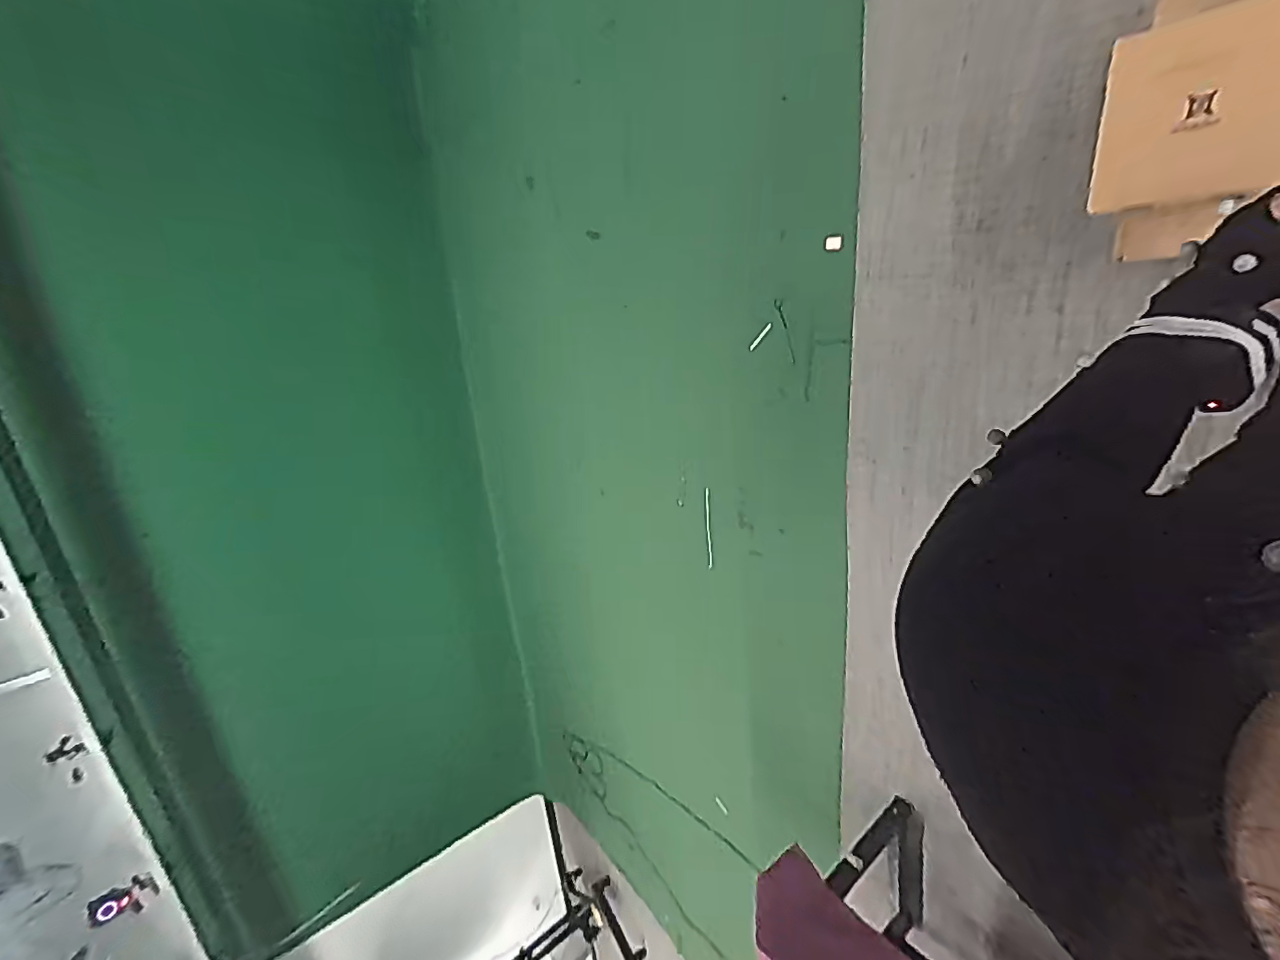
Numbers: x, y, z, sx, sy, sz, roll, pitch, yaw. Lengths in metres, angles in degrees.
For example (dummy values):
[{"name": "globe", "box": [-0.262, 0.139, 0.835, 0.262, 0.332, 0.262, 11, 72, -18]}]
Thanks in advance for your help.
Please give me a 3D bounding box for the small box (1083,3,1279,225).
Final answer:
[{"name": "small box", "box": [0.639, -0.395, 0.610, 0.168, 0.176, 0.179, 17, 119, 47]}]
